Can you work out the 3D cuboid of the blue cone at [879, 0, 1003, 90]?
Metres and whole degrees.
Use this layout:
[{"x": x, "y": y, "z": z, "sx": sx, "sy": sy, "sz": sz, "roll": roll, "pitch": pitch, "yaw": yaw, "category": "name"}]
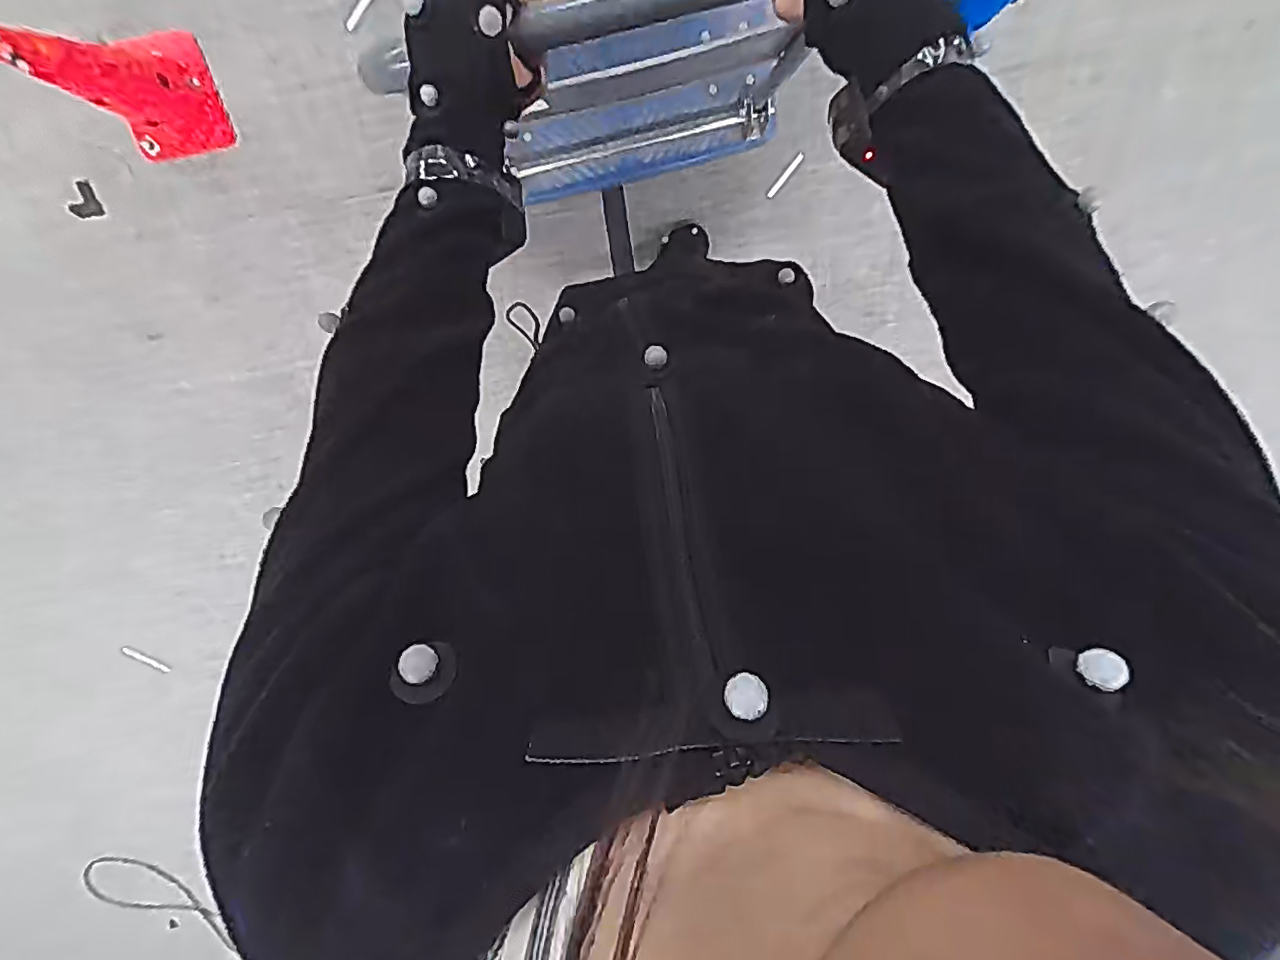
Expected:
[{"x": 0.597, "y": -0.860, "z": 0.956, "sx": 0.193, "sy": 0.380, "sz": 0.192, "roll": -13, "pitch": 113, "yaw": 2, "category": "blue cone"}]
